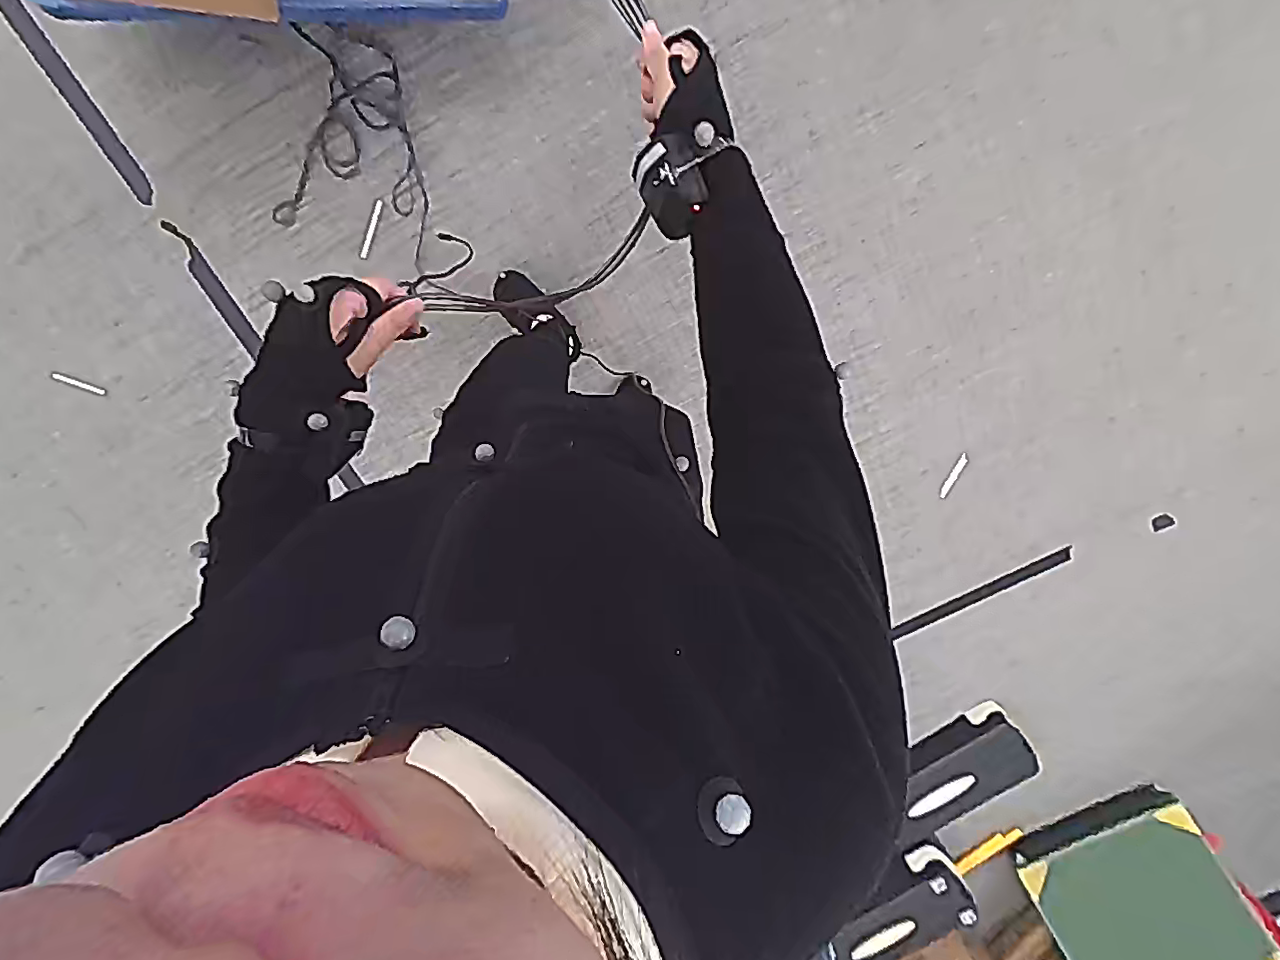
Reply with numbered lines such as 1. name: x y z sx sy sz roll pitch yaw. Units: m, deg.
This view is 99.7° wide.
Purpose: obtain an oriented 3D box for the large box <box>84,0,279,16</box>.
1. large box: -0.846 -0.960 0.804 0.408 0.320 0.320 3 107 -3
